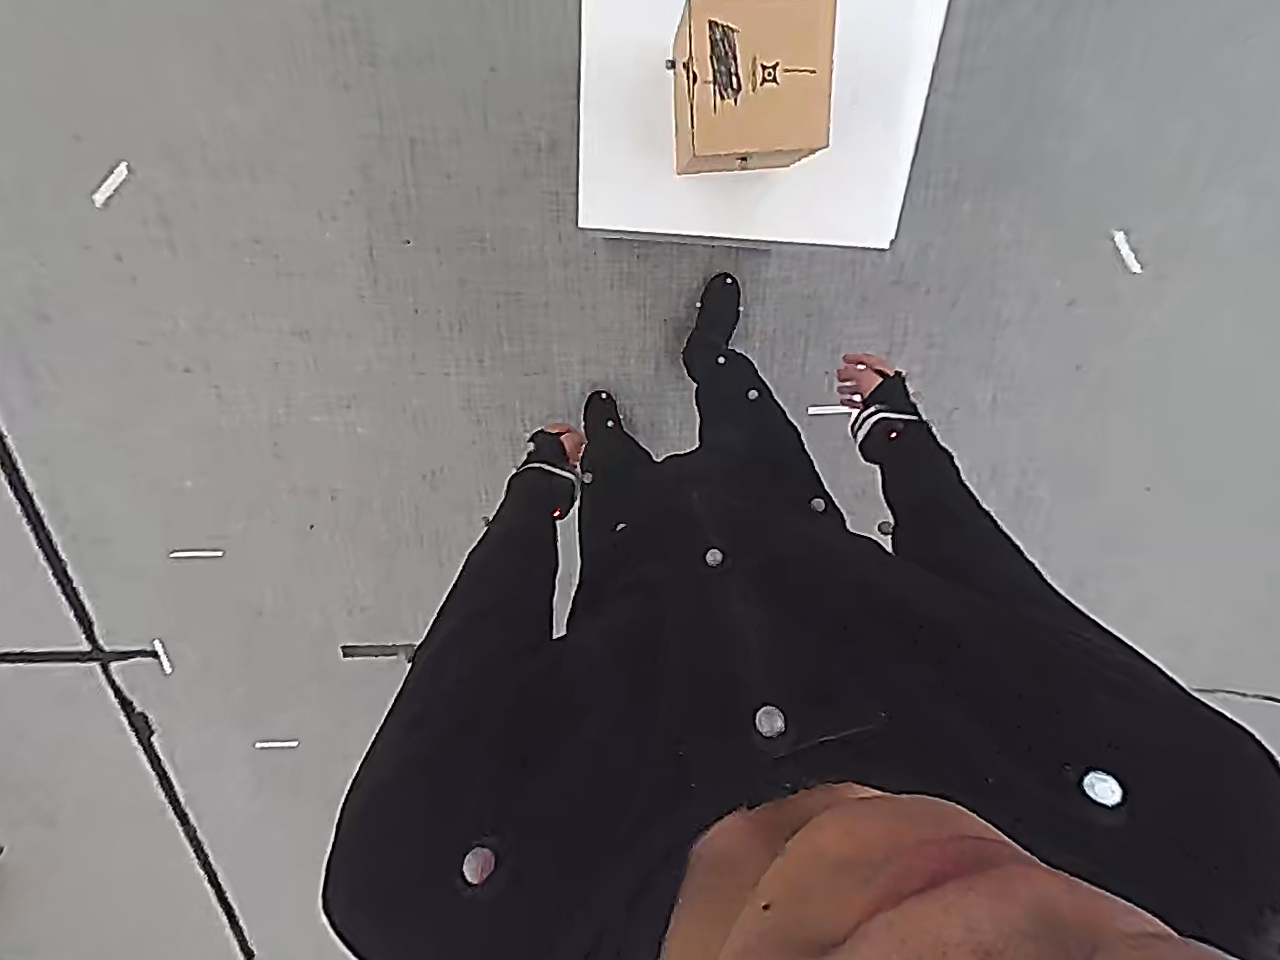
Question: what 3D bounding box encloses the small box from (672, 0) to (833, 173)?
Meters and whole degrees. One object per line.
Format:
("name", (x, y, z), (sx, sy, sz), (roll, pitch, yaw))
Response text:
("small box", (0.137, -0.519, 0.724), (0.179, 0.176, 0.168), (-5, 113, -3))
